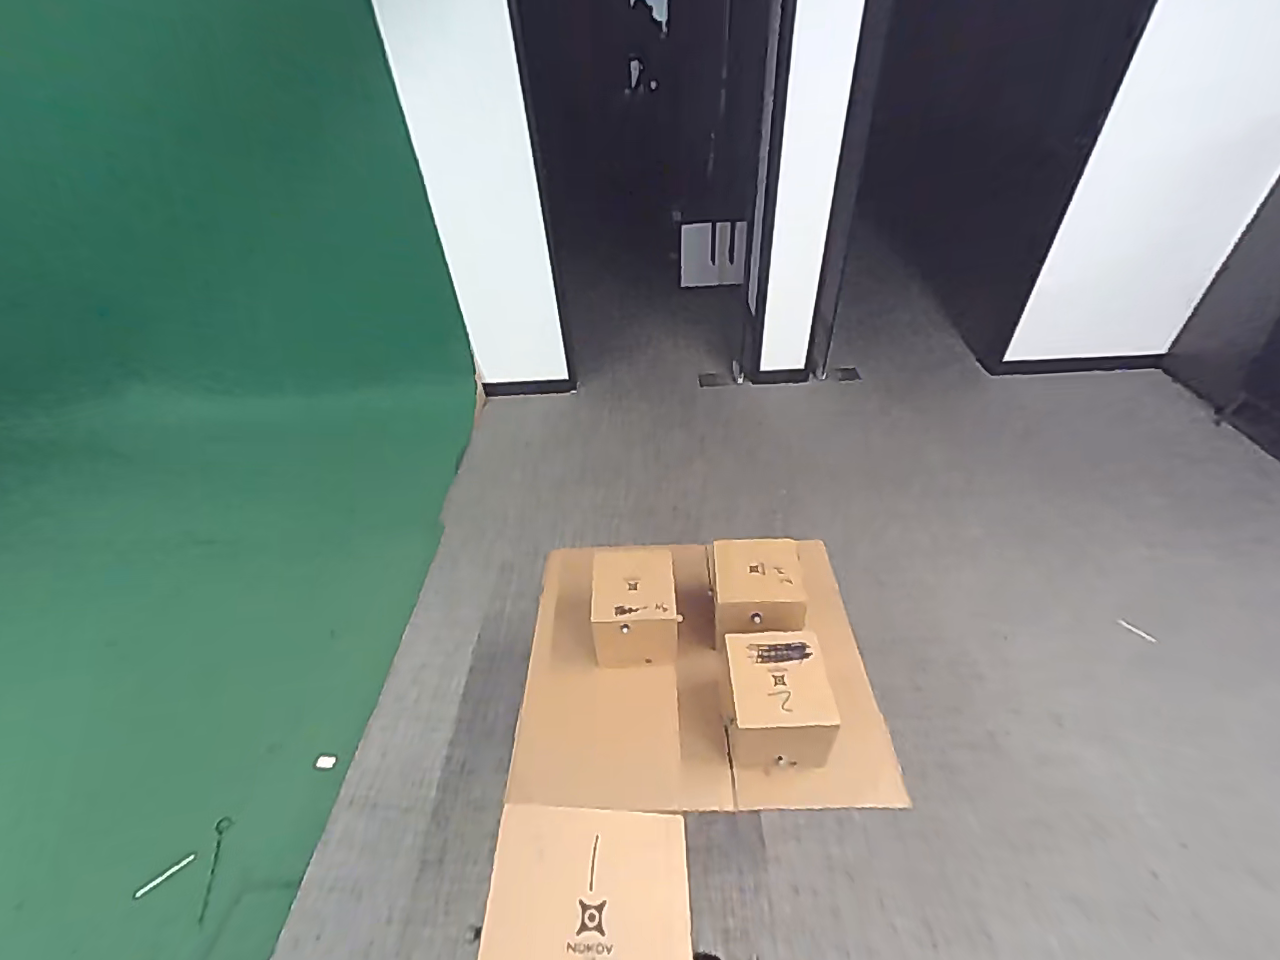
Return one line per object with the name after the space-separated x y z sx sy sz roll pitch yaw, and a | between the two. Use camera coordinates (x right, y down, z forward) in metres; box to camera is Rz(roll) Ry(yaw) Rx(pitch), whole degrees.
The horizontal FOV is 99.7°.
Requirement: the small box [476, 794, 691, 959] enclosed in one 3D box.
-0.054 0.408 0.475 0.168 0.176 0.179 9 38 -7 | small box

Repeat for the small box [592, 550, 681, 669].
-0.003 0.270 1.133 0.168 0.176 0.179 -5 39 3 | small box
